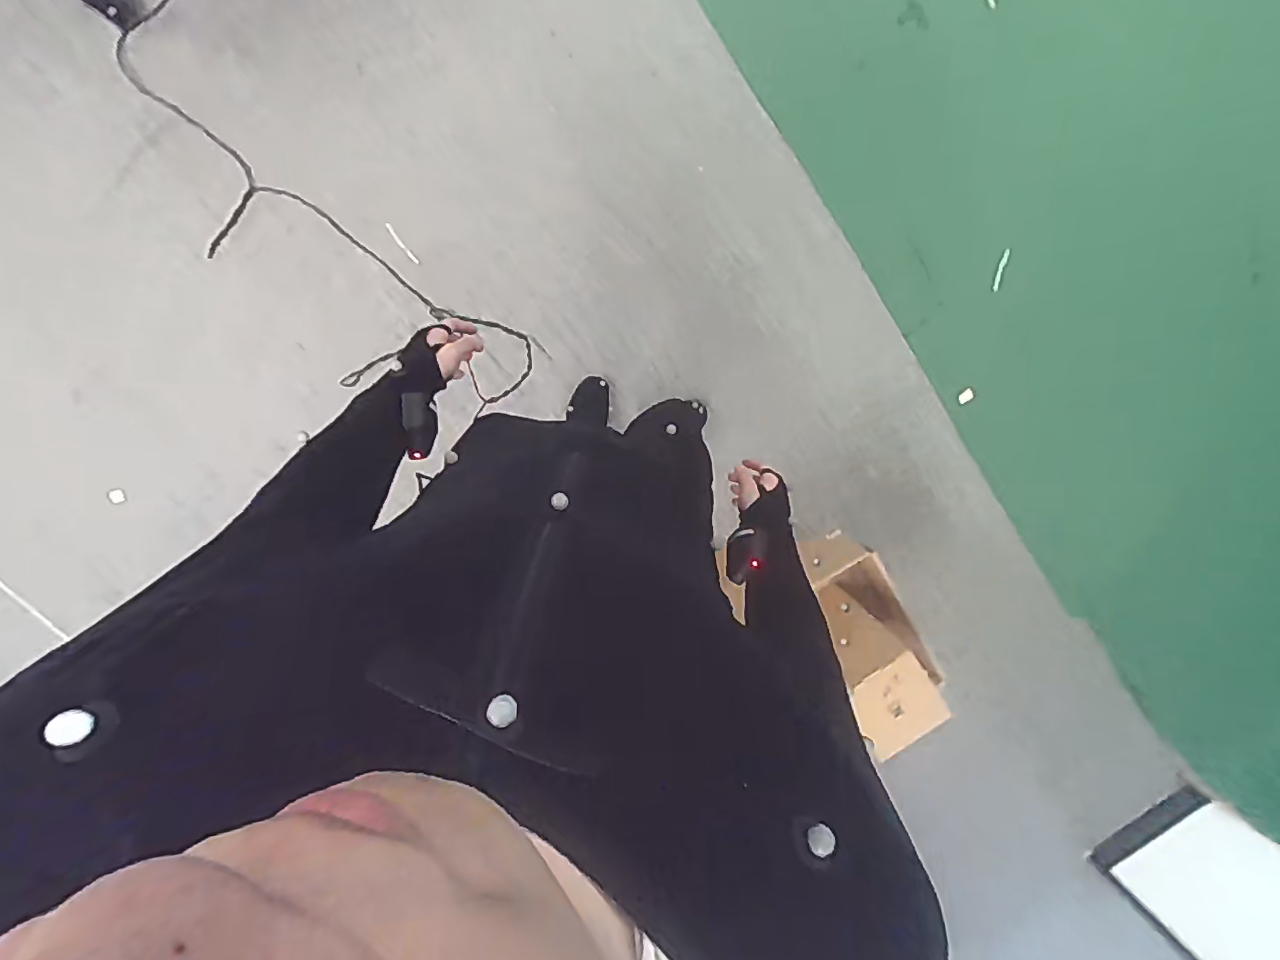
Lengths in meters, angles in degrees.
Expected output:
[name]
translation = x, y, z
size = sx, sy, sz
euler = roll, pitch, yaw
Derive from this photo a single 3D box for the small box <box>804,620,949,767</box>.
[small box]
translation = 0.461, 0.415, 1.077
size = 0.168, 0.176, 0.179
euler = -35, 102, 2
